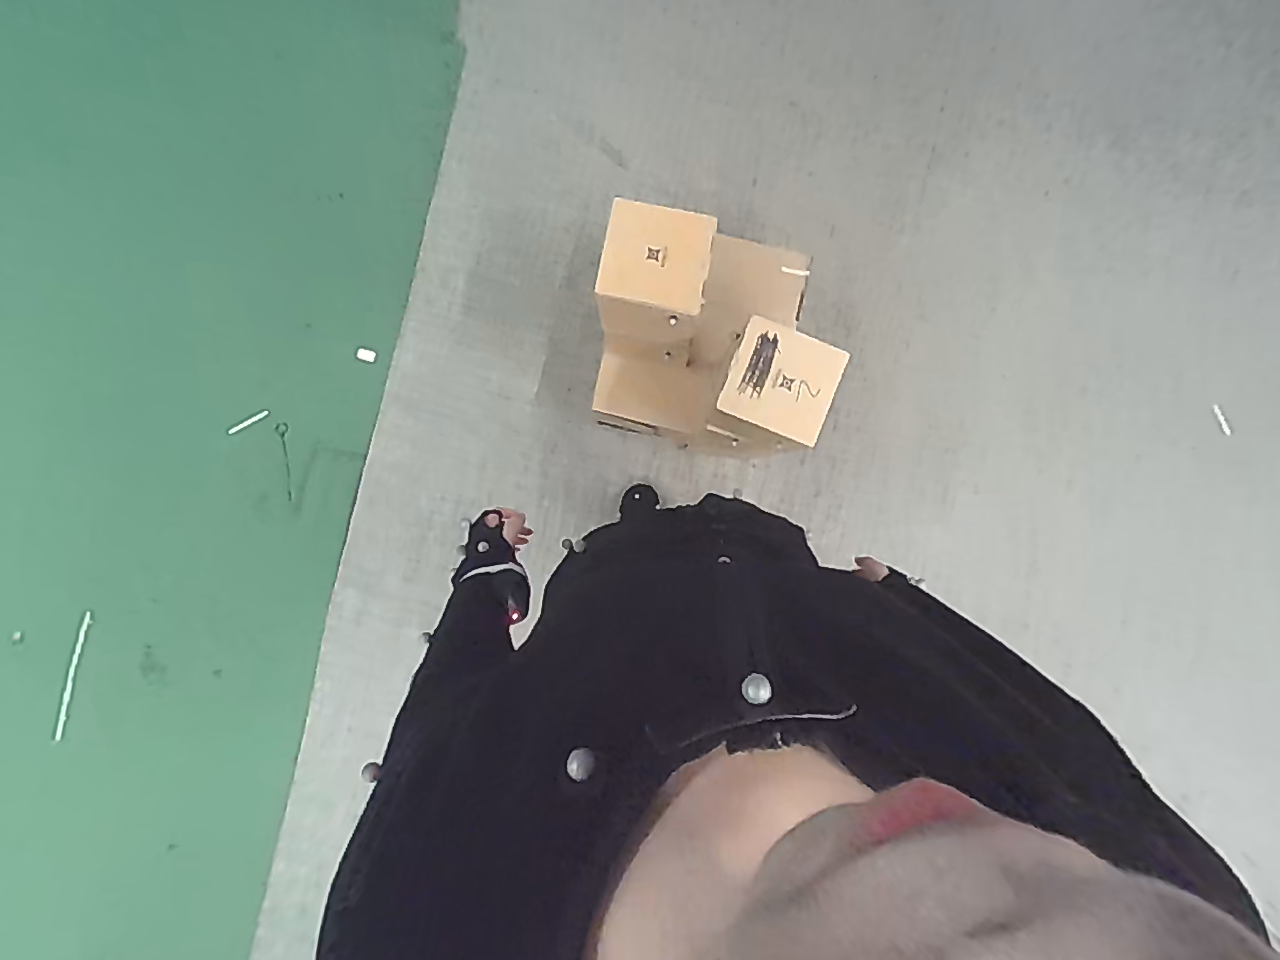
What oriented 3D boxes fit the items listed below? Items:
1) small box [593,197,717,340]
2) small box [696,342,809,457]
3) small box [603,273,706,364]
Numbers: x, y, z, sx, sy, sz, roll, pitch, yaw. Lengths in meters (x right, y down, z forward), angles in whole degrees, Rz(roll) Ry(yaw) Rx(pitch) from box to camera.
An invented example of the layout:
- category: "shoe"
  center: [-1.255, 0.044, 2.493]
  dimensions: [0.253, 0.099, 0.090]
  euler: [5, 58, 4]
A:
- category: "small box"
  center: [0.024, -0.362, 0.955]
  dimensions: [0.179, 0.176, 0.168]
  euler: [12, 87, 0]
- category: "small box"
  center: [0.222, -0.157, 1.111]
  dimensions: [0.168, 0.176, 0.179]
  euler: [17, 88, -1]
- category: "small box"
  center: [0.028, -0.350, 1.118]
  dimensions: [0.179, 0.176, 0.168]
  euler: [11, 87, 1]
